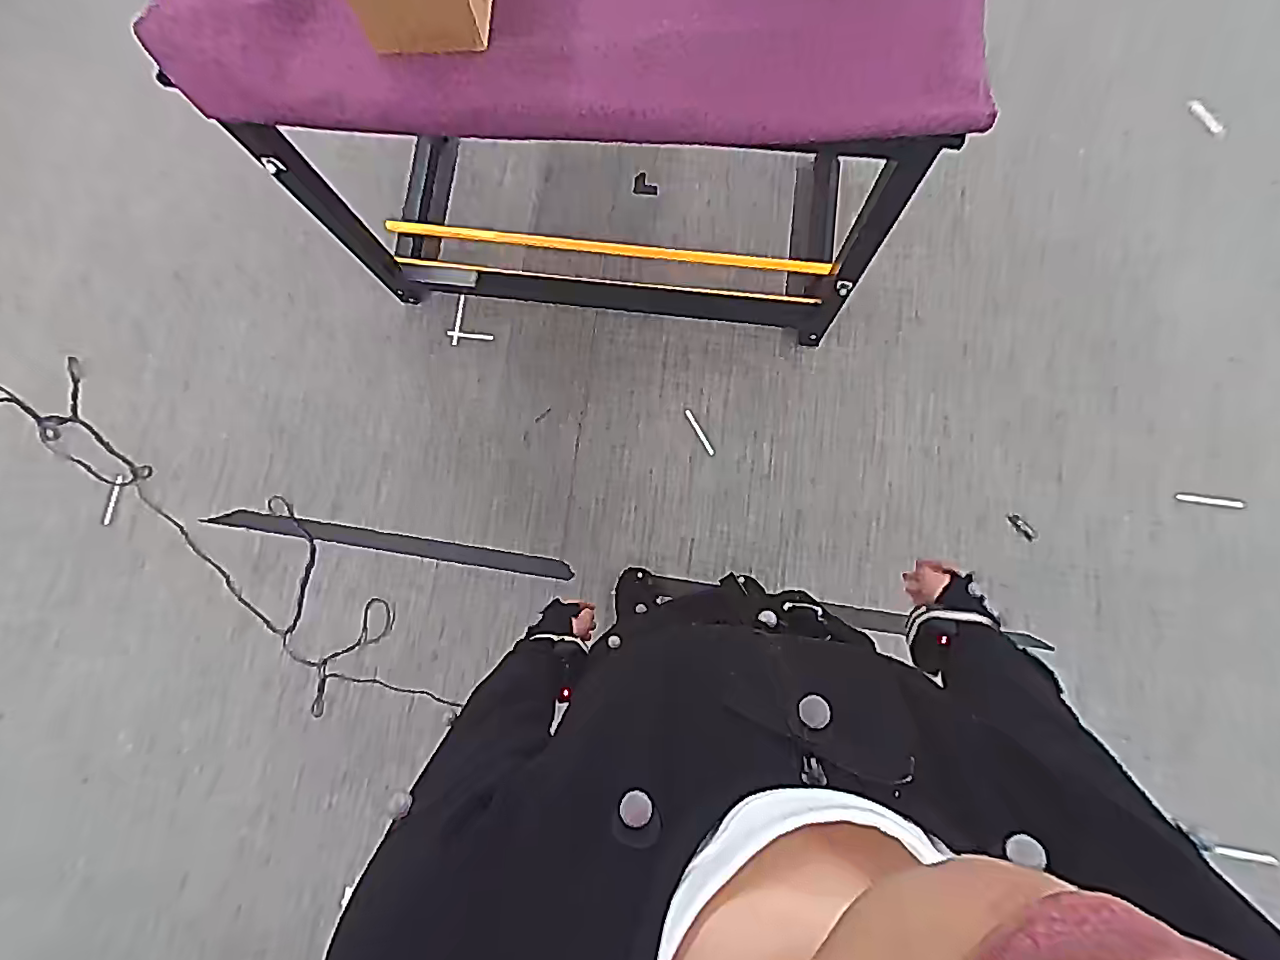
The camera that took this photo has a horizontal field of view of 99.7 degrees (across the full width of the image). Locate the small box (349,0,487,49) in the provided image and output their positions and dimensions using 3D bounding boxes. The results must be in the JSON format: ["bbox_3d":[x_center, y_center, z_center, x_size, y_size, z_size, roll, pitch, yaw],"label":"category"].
[{"bbox_3d":[-0.313,-0.735,0.742,0.179,0.176,0.168,2,80,4],"label":"small box"}]
